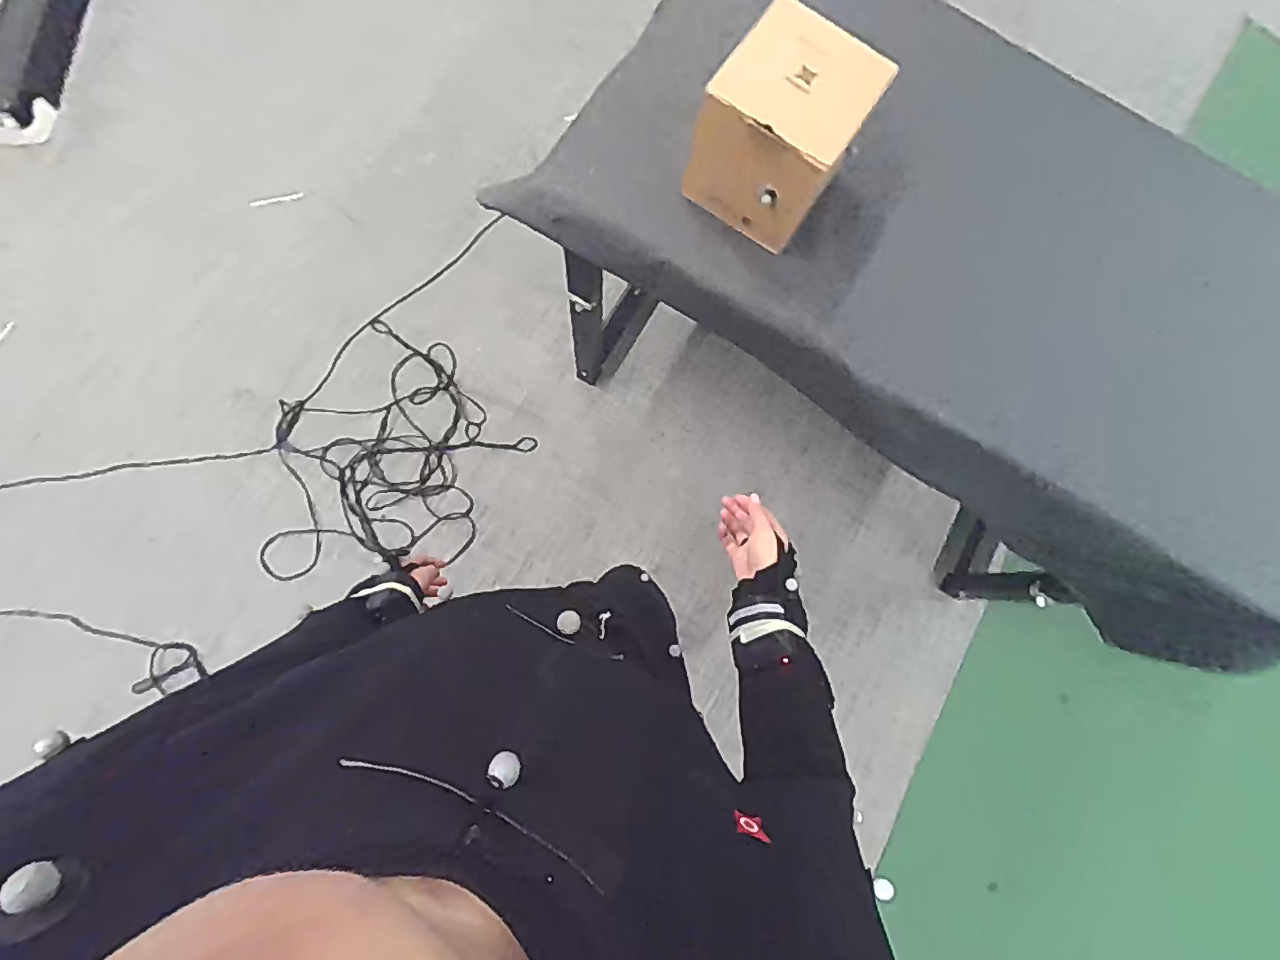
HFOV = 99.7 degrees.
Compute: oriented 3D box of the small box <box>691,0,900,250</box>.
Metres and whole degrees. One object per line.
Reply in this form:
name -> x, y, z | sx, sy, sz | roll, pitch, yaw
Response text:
small box -> 0.179, -0.434, 0.682 | 0.168, 0.176, 0.179 | 34, 77, 0
